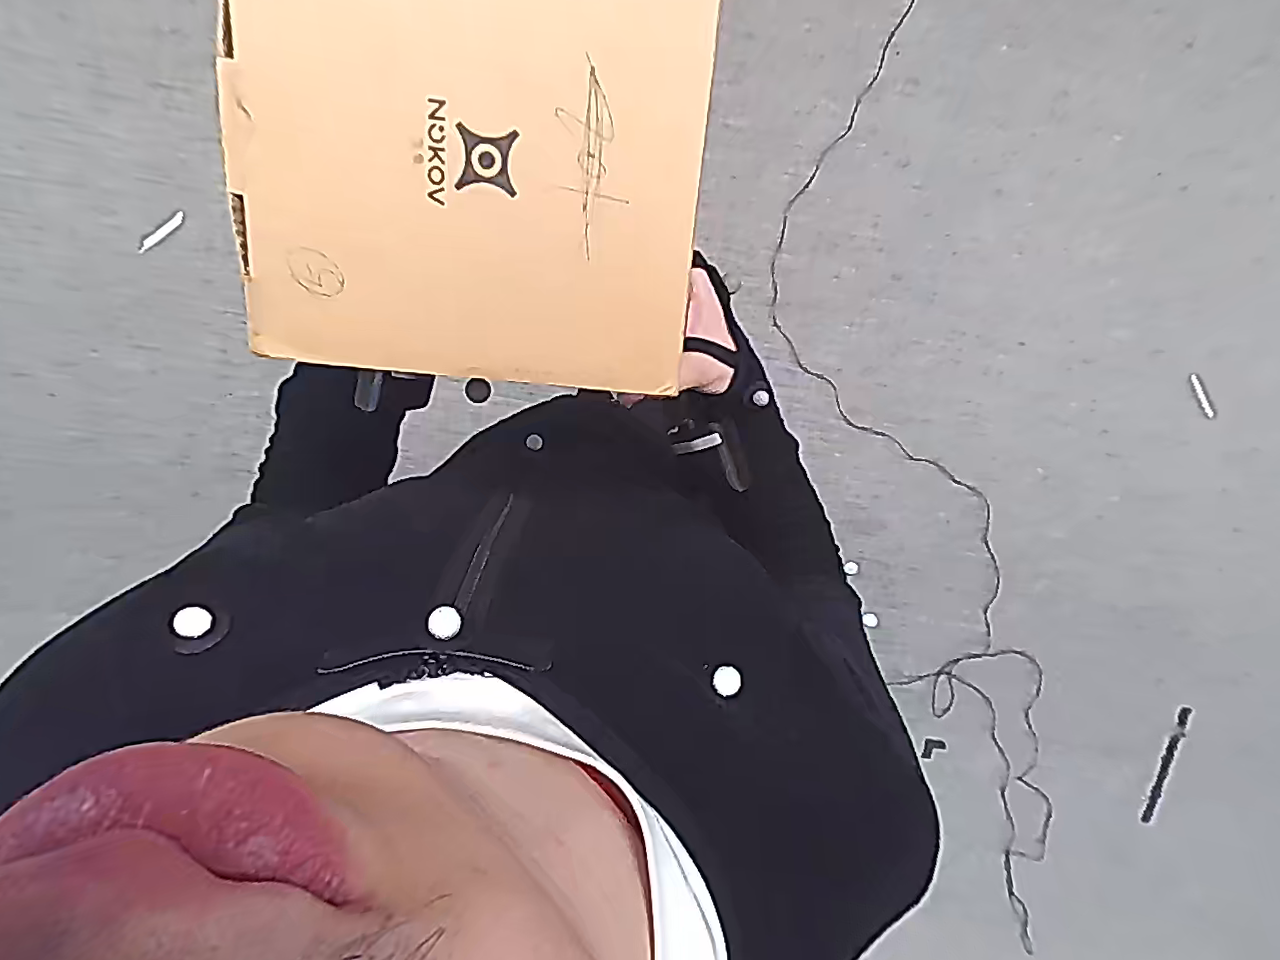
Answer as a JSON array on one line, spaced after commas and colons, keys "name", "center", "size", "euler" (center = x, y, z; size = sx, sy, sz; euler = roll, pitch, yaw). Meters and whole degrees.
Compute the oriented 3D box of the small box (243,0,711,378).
[{"name": "small box", "center": [-0.072, -0.150, 0.295], "size": [0.179, 0.176, 0.168], "euler": [3, 105, -8]}]
